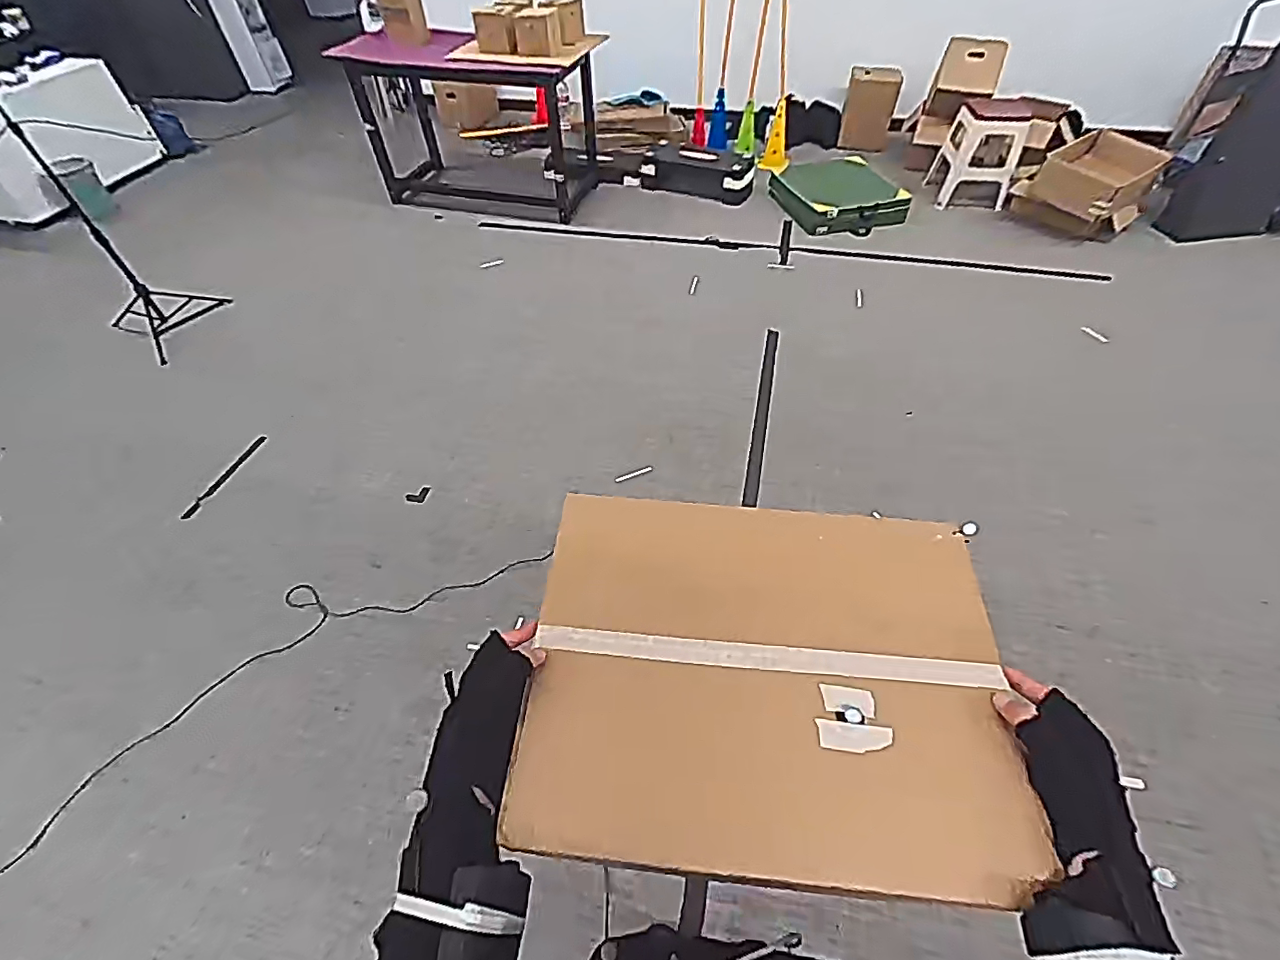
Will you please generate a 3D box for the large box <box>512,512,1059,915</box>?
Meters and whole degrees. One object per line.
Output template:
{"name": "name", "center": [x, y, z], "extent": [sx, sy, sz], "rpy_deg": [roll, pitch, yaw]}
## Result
{"name": "large box", "center": [0.112, 0.257, 0.597], "extent": [0.408, 0.320, 0.320], "rpy_deg": [5, 55, 3]}
